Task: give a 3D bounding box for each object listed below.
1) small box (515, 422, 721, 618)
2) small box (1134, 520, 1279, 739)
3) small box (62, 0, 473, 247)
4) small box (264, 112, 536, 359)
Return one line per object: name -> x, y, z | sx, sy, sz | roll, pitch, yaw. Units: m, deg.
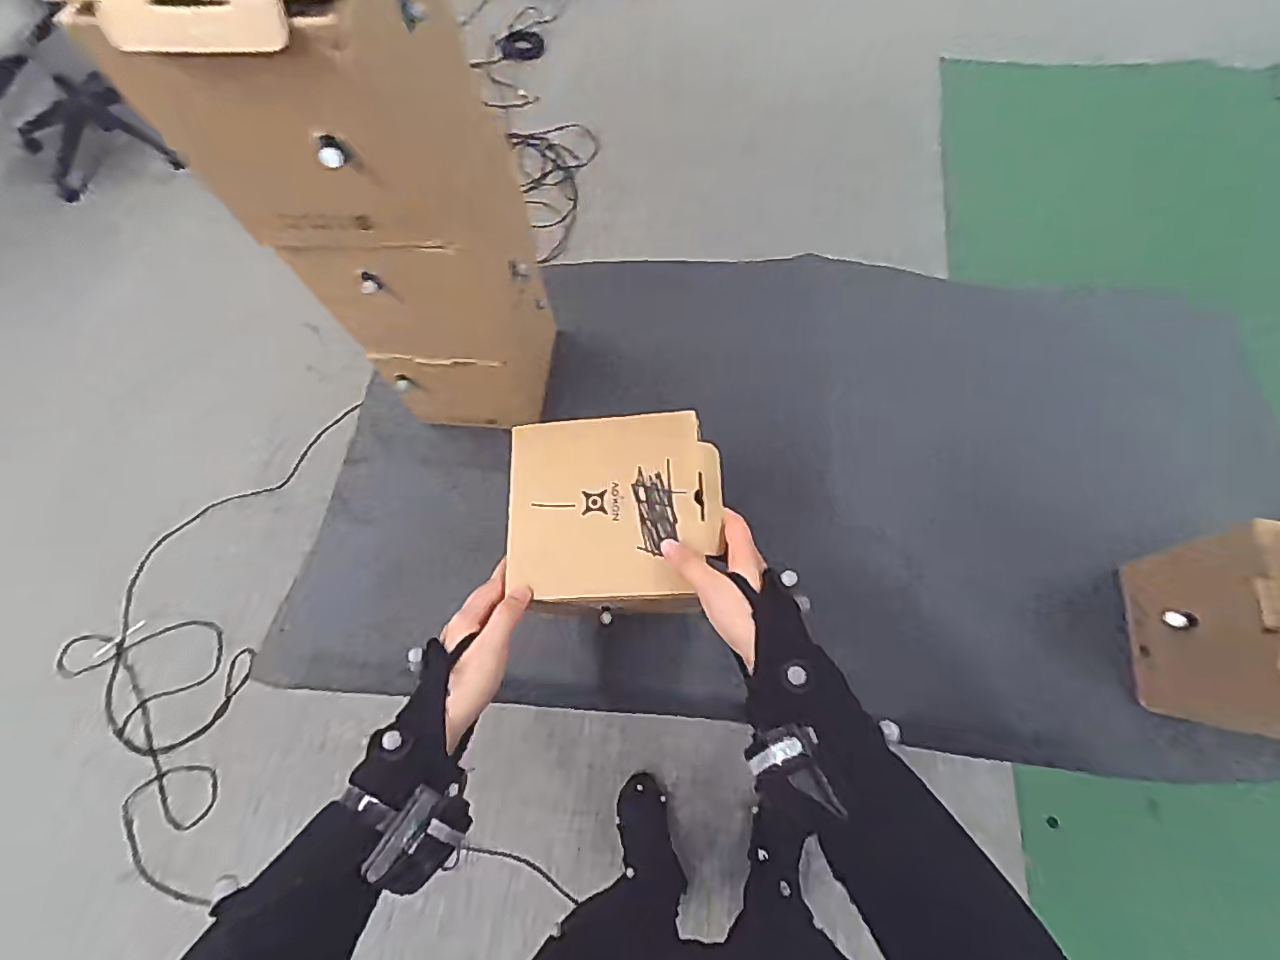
small box -> -0.015, 0.050, 0.552 | 0.179, 0.176, 0.168 | -2, 72, 4
small box -> 0.633, 0.156, 0.526 | 0.179, 0.176, 0.168 | 10, 67, 8
small box -> -0.238, -0.298, 0.403 | 0.168, 0.176, 0.179 | 2, 68, 2
small box -> -0.222, -0.240, 0.554 | 0.179, 0.176, 0.168 | 5, 71, 5
